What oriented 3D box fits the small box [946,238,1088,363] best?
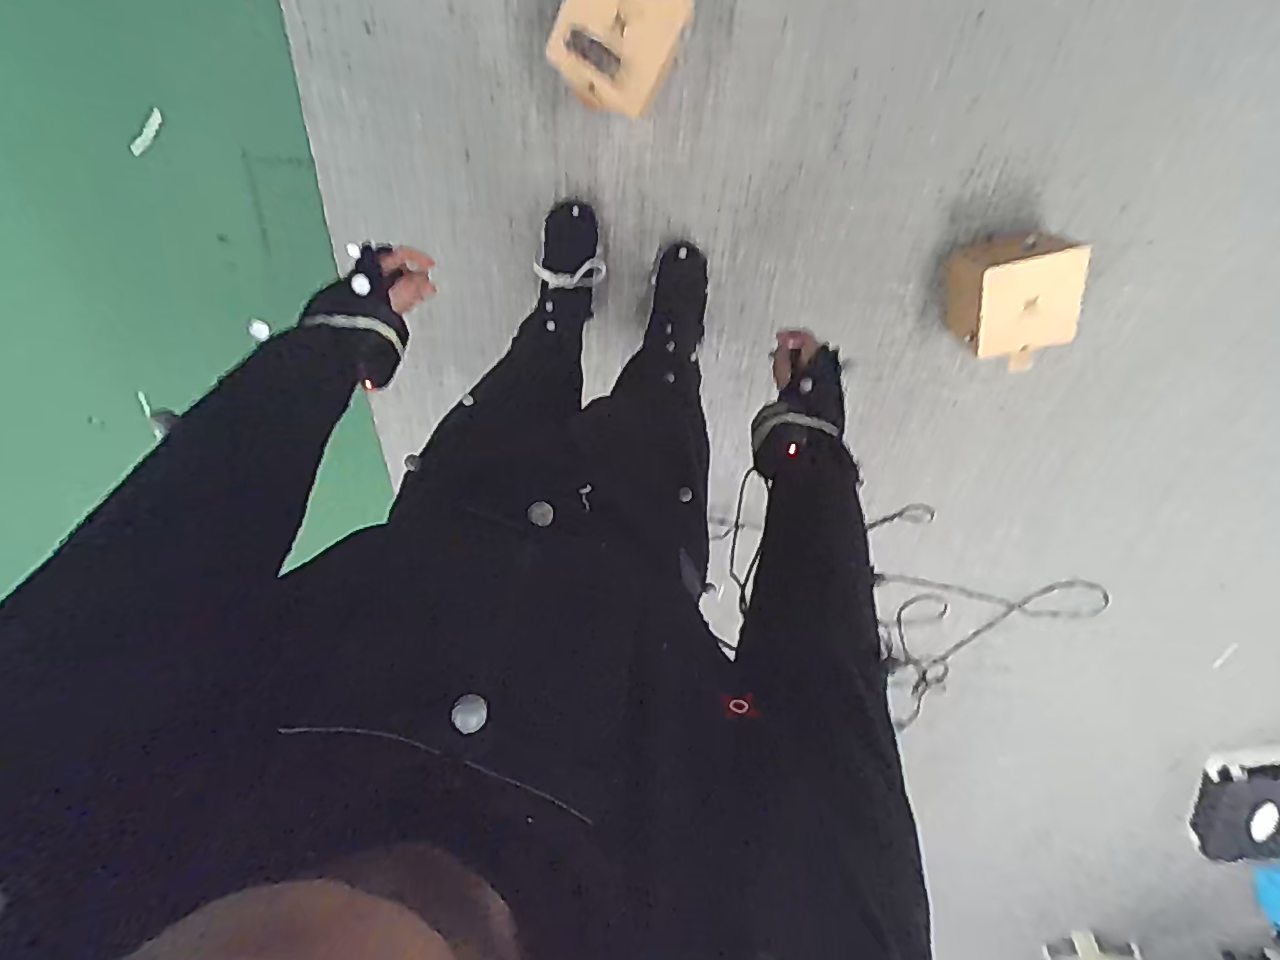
[{"bbox_3d":[0.712,-0.353,1.045,0.168,0.176,0.179,-10,124,13],"label":"small box"}]
